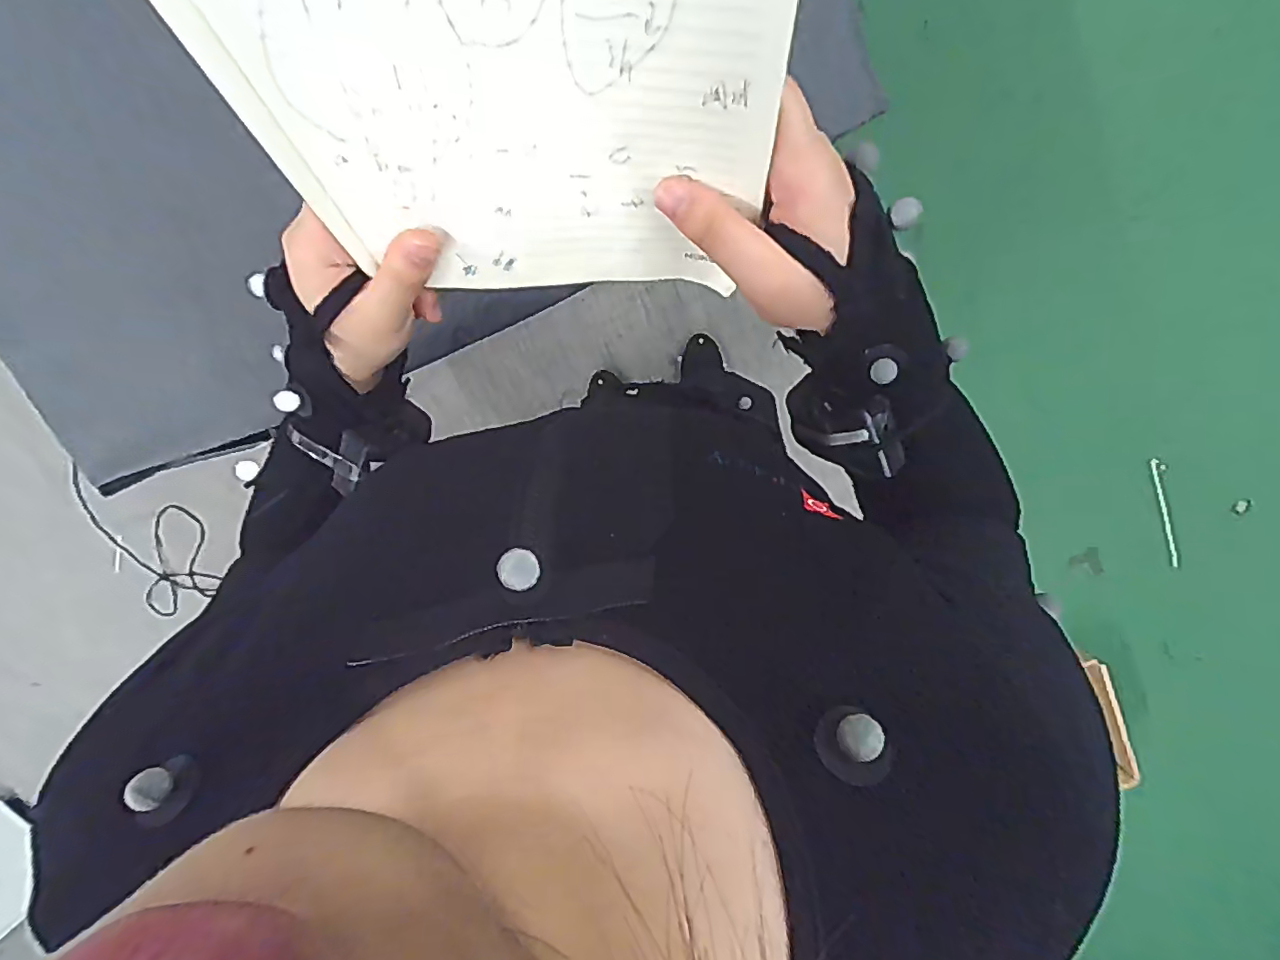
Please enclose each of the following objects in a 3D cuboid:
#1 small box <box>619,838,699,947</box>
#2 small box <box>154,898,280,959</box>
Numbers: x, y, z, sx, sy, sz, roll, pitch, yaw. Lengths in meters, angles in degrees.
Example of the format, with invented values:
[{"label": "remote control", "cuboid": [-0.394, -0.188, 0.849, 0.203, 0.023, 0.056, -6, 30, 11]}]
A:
[{"label": "small box", "cuboid": [0.056, 1.148, 1.518, 0.179, 0.176, 0.168, -20, 100, 10]}, {"label": "small box", "cuboid": [-1.038, 1.170, 1.317, 0.179, 0.176, 0.168, -20, 102, 11]}]
